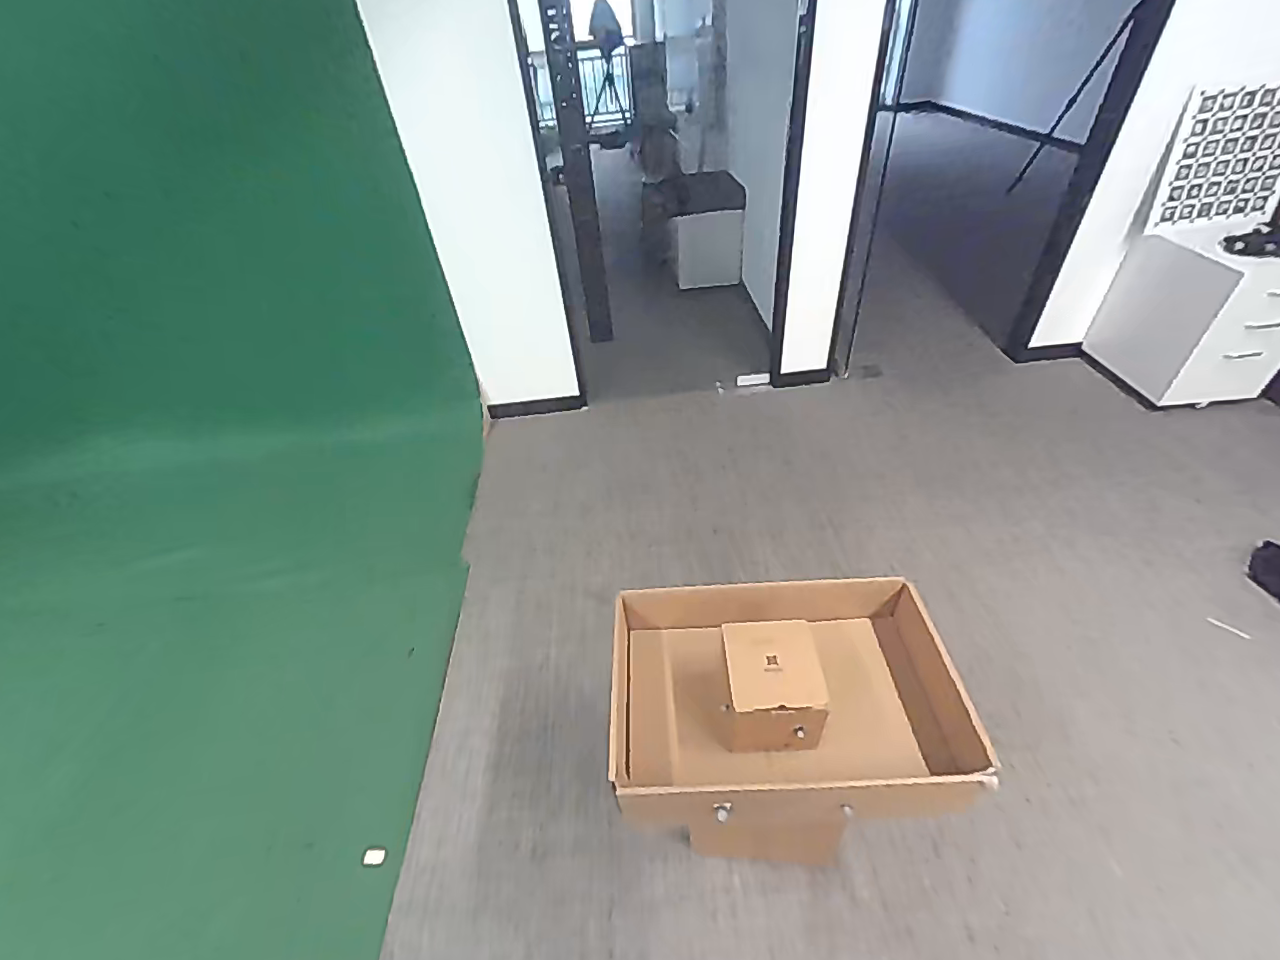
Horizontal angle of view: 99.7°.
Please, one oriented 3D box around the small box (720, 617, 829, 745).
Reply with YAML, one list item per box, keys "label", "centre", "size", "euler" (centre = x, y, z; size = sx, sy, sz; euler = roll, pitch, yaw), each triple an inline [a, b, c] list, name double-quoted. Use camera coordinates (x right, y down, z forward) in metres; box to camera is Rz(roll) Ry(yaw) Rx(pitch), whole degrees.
- label: "small box"
  centre: [0.245, 0.387, 1.032]
  size: [0.168, 0.176, 0.179]
  euler: [-3, 39, 1]
